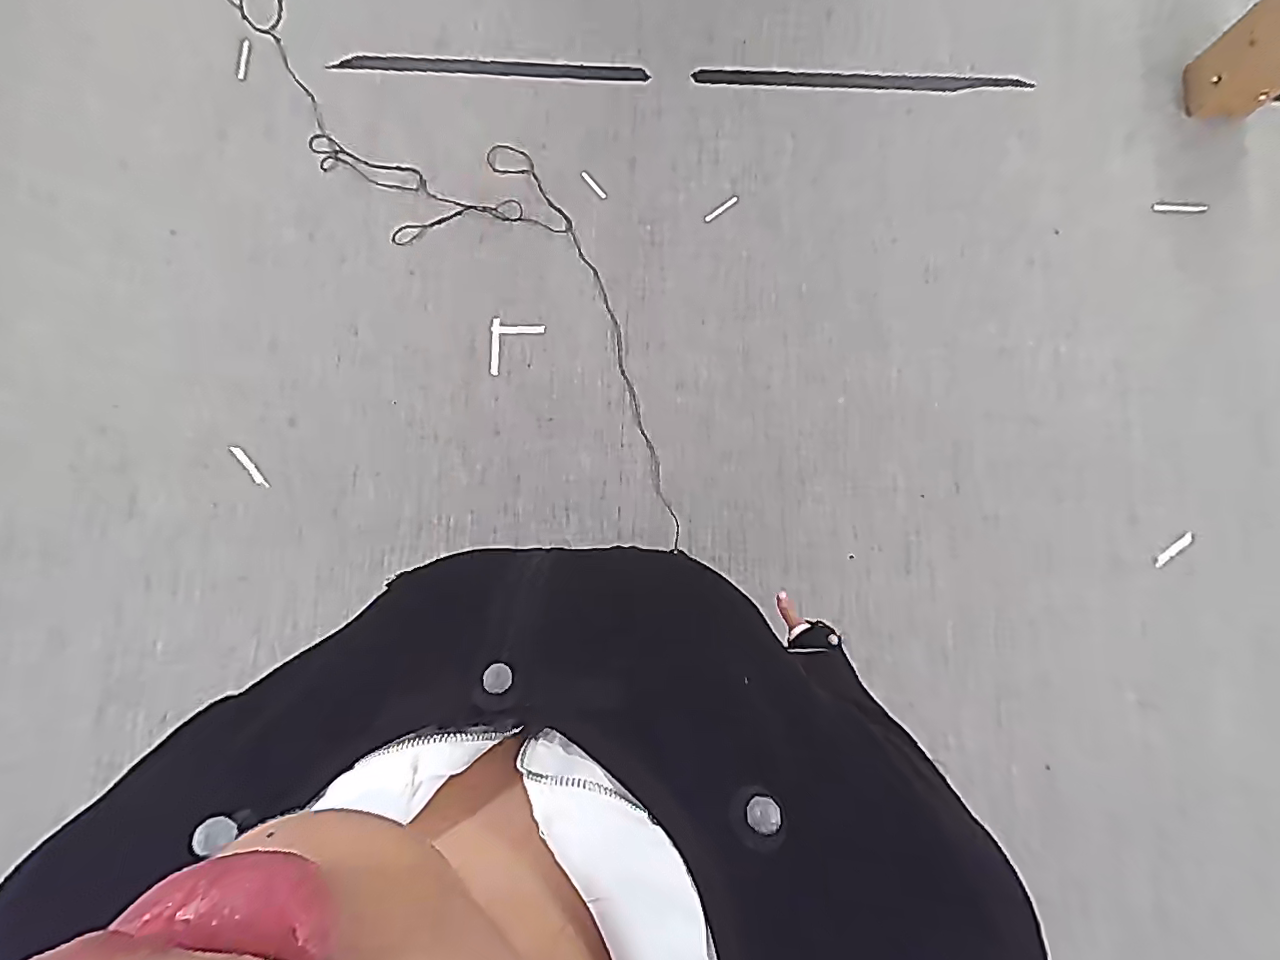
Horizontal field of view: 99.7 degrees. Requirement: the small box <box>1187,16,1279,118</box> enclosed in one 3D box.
[{"bbox_3d":[1.749,-1.186,1.563,0.168,0.176,0.179,2,82,1],"label":"small box"}]
